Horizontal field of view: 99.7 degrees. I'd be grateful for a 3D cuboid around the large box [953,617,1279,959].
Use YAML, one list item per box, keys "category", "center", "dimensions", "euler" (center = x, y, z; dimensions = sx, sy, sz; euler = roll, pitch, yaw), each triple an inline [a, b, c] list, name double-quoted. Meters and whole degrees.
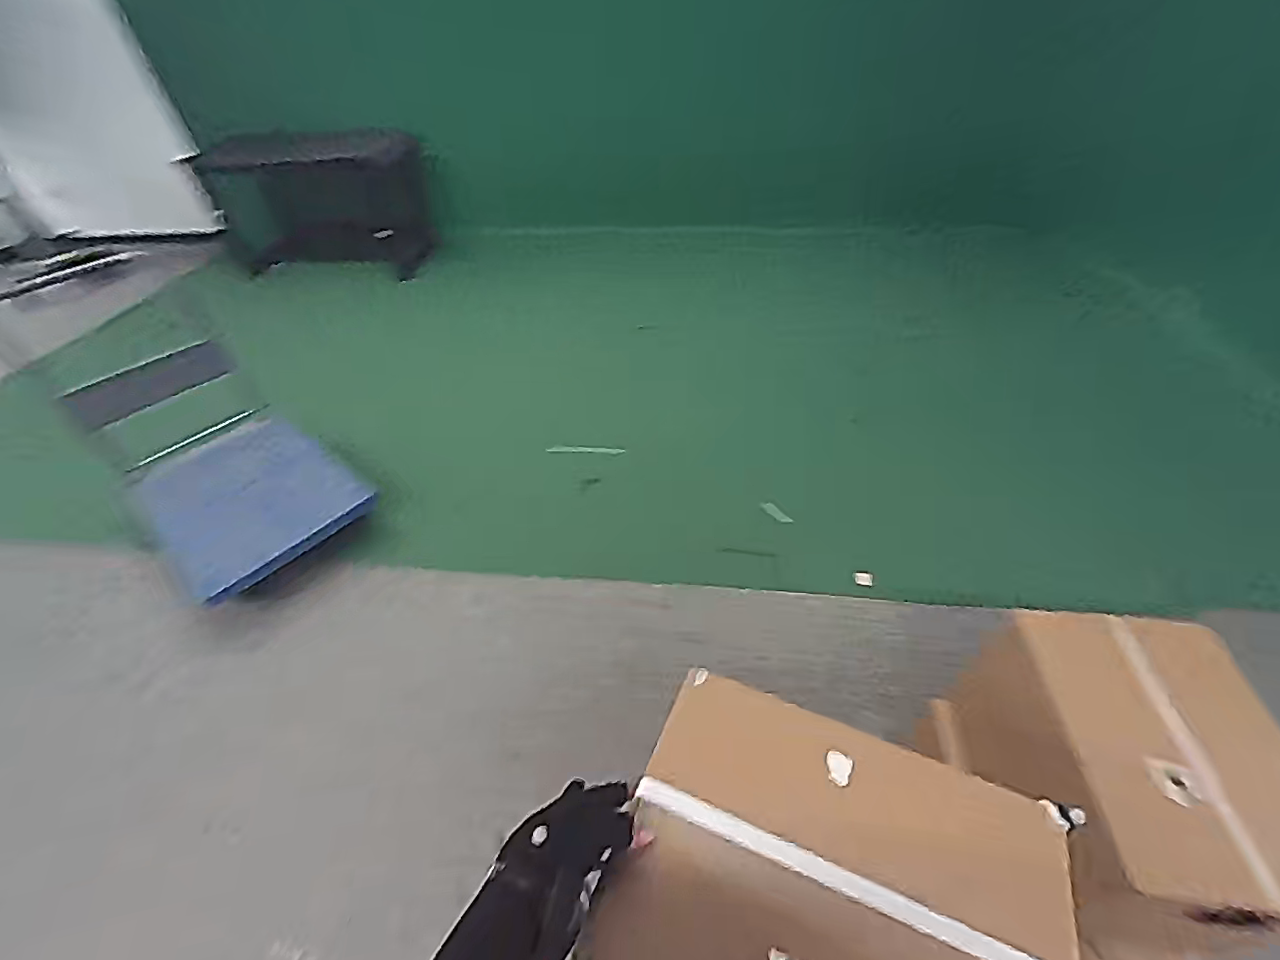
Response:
- category: "large box"
  center: [0.780, 0.492, 0.880]
  dimensions: [0.320, 0.320, 0.408]
  euler: [6, 45, 6]
